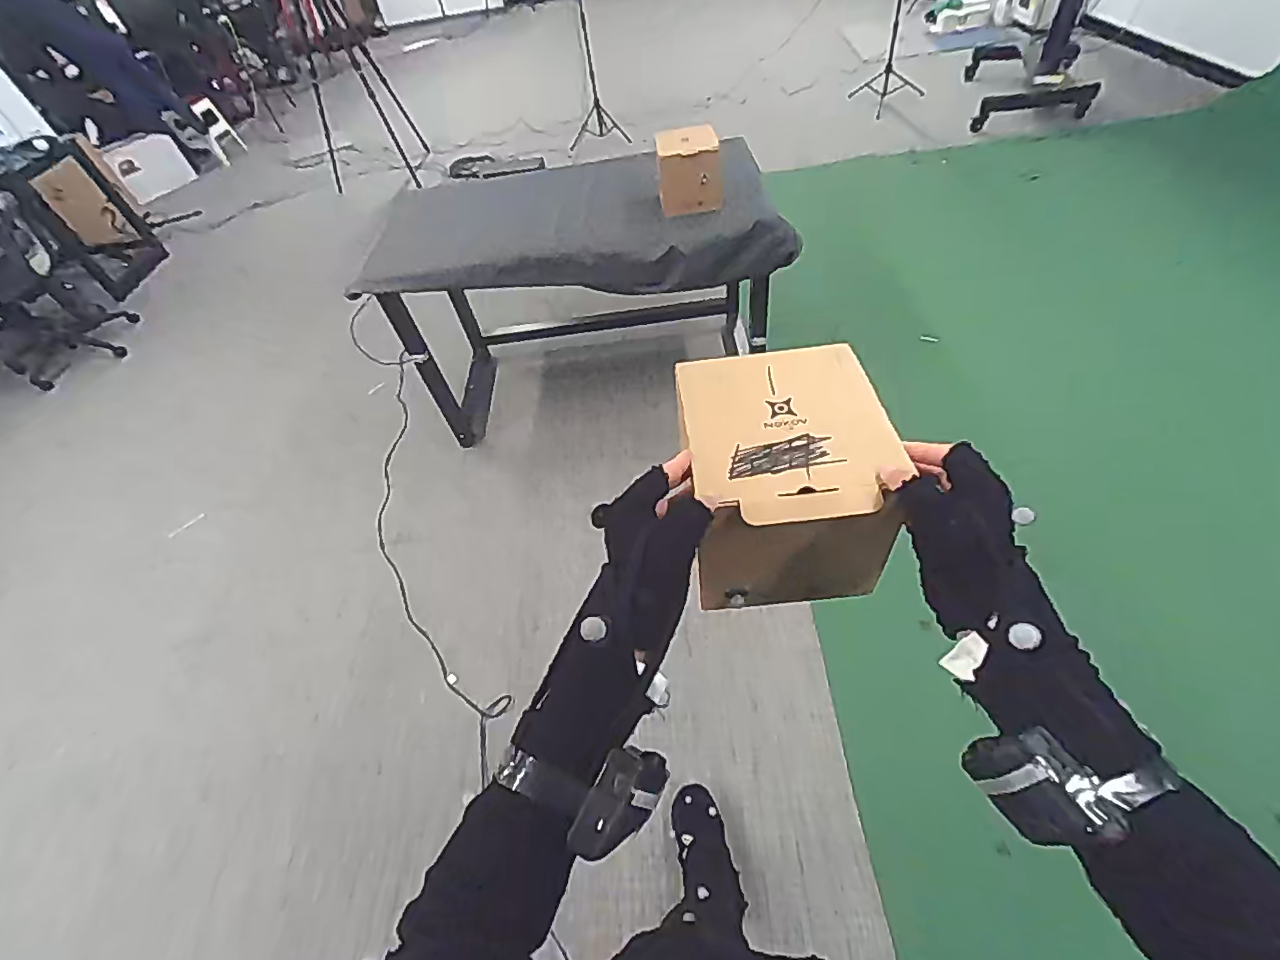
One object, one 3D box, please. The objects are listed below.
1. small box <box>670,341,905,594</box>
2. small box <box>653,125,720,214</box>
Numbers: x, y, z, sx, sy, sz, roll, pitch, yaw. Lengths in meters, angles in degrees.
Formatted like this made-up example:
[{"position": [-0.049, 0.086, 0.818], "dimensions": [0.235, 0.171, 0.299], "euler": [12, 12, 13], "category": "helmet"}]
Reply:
[{"position": [0.123, -0.004, 0.517], "dimensions": [0.168, 0.176, 0.179], "euler": [-7, 48, 3], "category": "small box"}, {"position": [0.132, -0.874, 1.535], "dimensions": [0.168, 0.176, 0.179], "euler": [-8, 48, 3], "category": "small box"}]
